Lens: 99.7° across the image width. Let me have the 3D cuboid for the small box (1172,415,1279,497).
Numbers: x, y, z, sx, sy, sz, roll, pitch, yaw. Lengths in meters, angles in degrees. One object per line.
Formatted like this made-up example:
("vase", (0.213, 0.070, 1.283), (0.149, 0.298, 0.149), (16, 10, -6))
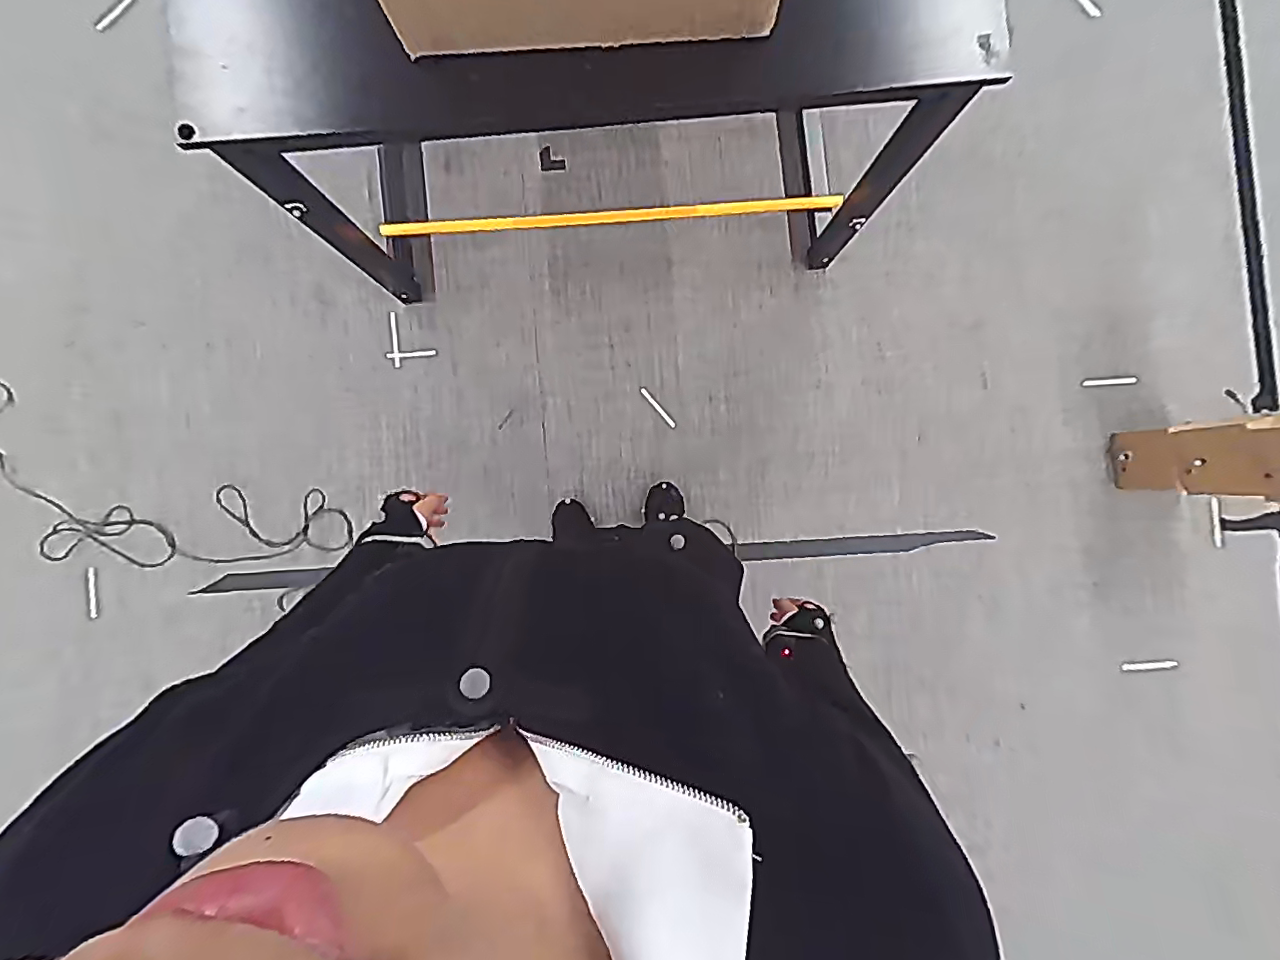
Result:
("small box", (1.426, -0.057, 1.268), (0.179, 0.176, 0.168), (-12, 88, -1))

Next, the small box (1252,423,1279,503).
("small box", (1.425, -0.048, 1.104), (0.179, 0.176, 0.168), (-14, 88, -1))

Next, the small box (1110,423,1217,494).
("small box", (1.411, -0.056, 1.433), (0.179, 0.176, 0.168), (-8, 88, 0))
